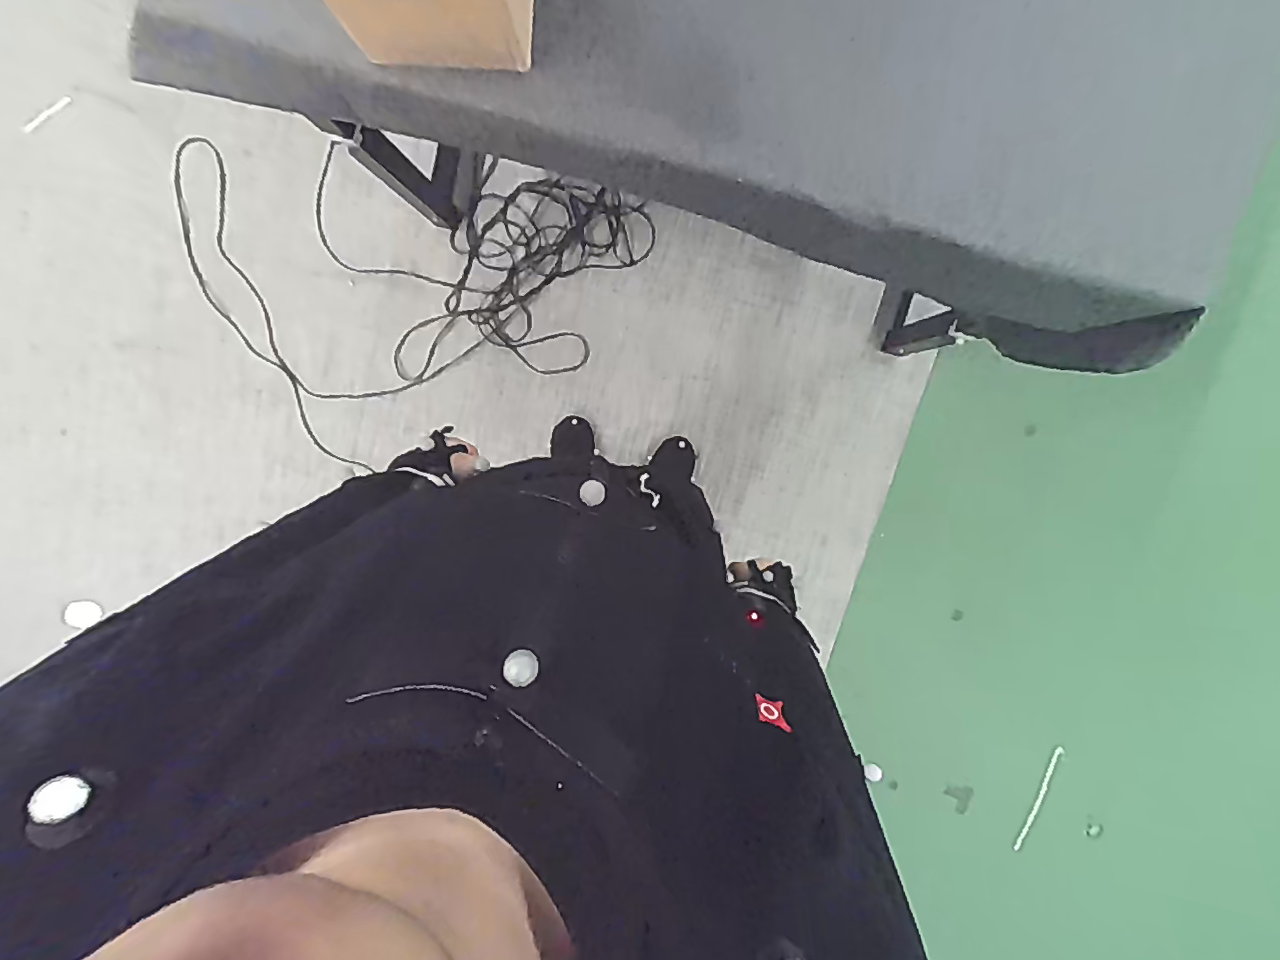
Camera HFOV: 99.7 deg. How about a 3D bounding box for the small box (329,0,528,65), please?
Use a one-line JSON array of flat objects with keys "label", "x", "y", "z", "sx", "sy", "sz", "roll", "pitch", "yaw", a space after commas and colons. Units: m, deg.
[{"label": "small box", "x": -0.197, "y": -0.515, "z": 0.487, "sx": 0.179, "sy": 0.176, "sz": 0.168, "roll": 4, "pitch": 97, "yaw": 1}]
